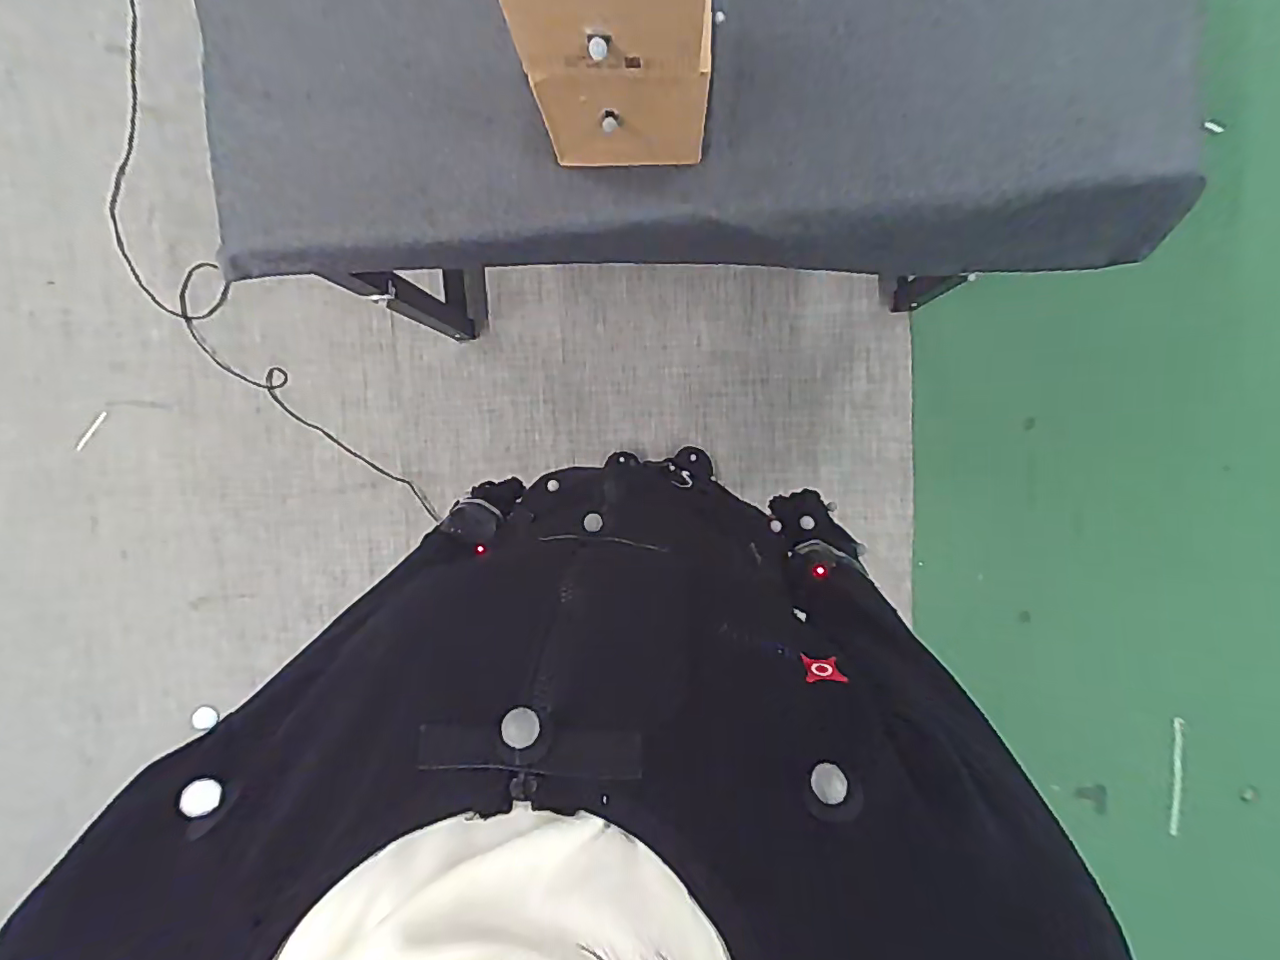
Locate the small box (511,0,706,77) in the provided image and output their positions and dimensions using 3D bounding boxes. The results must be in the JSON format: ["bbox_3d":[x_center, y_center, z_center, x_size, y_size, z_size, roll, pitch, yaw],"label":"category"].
[{"bbox_3d":[-0.023,-0.464,0.420,0.168,0.176,0.179,4,94,2],"label":"small box"}]

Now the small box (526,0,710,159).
[{"bbox_3d":[-0.015,-0.472,0.585,0.179,0.176,0.168,1,94,3],"label":"small box"}]
